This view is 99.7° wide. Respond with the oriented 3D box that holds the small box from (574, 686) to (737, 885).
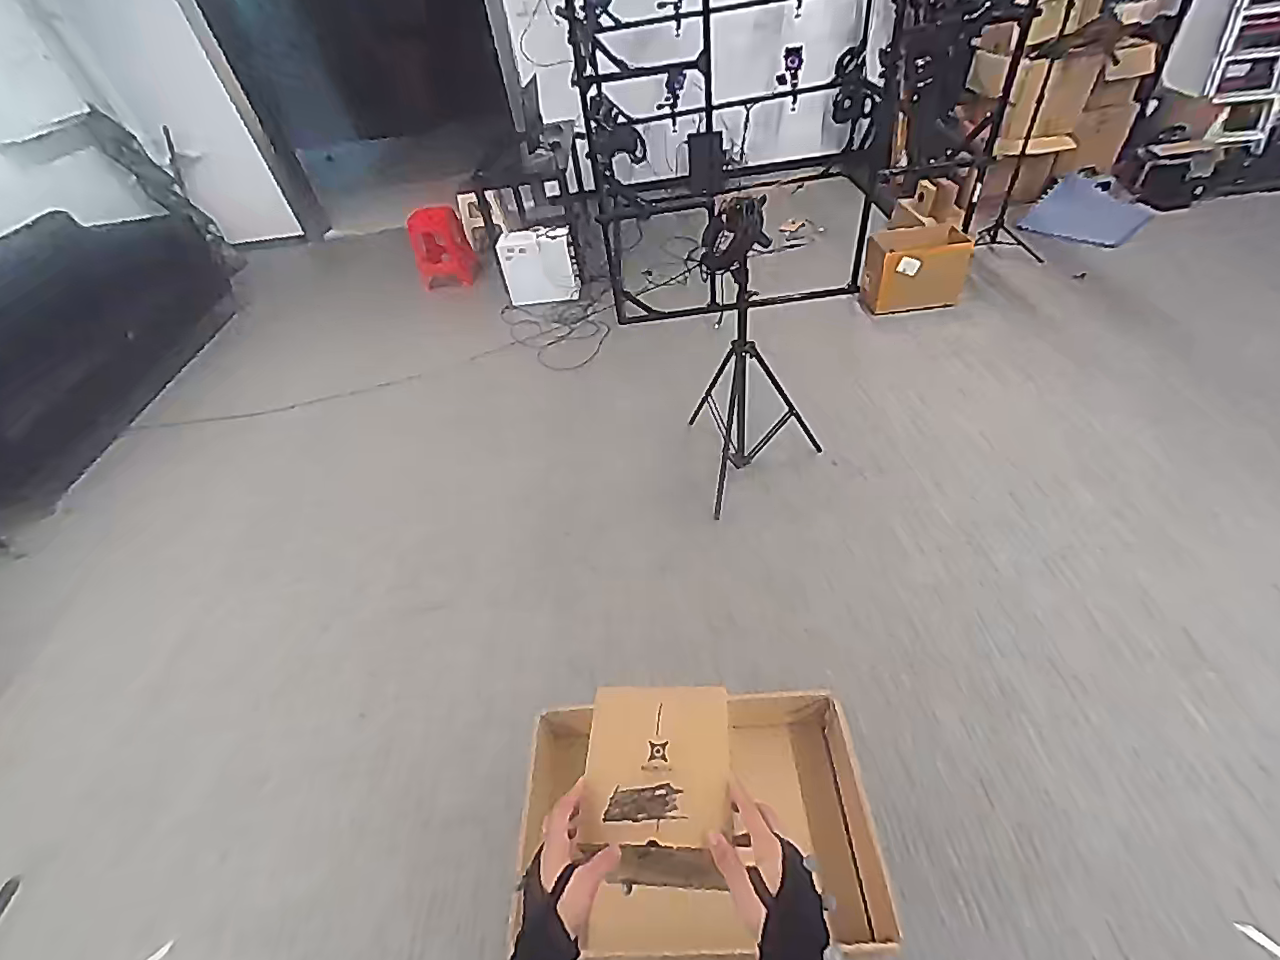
[{"bbox_3d":[0.030,0.375,0.666,0.168,0.176,0.179,-4,42,10],"label":"small box"}]
